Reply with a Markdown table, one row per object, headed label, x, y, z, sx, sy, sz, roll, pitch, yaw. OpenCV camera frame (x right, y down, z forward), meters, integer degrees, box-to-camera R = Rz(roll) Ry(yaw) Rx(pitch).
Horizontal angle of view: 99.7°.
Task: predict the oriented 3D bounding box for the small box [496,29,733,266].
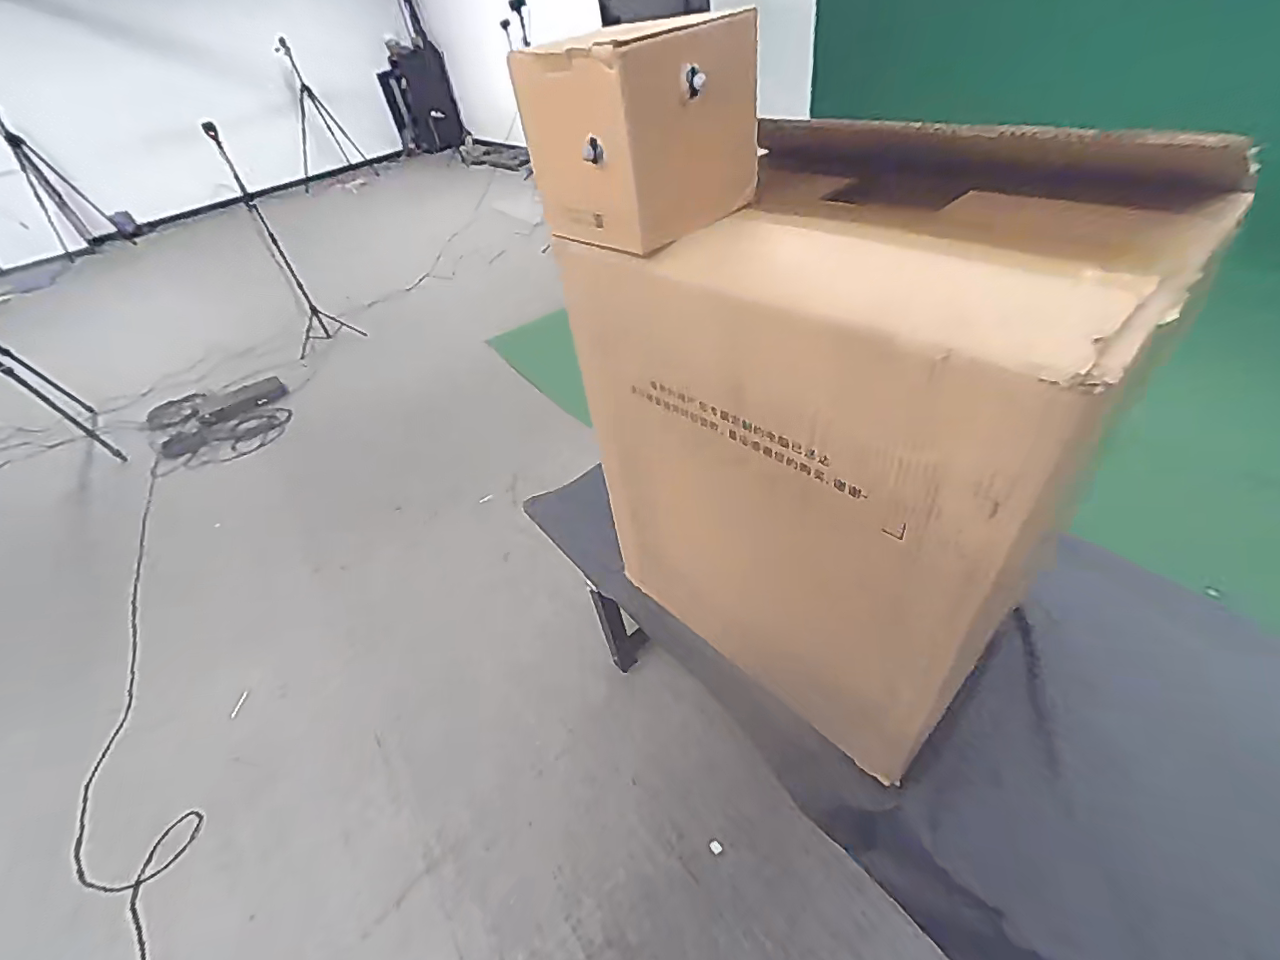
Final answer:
| label | x | y | z | sx | sy | sz | roll | pitch | yaw |
| --- | --- | --- | --- | --- | --- | --- | --- | --- | --- |
| small box | -0.014 | -0.342 | 0.566 | 0.179 | 0.176 | 0.168 | -35 | 47 | -26 |
